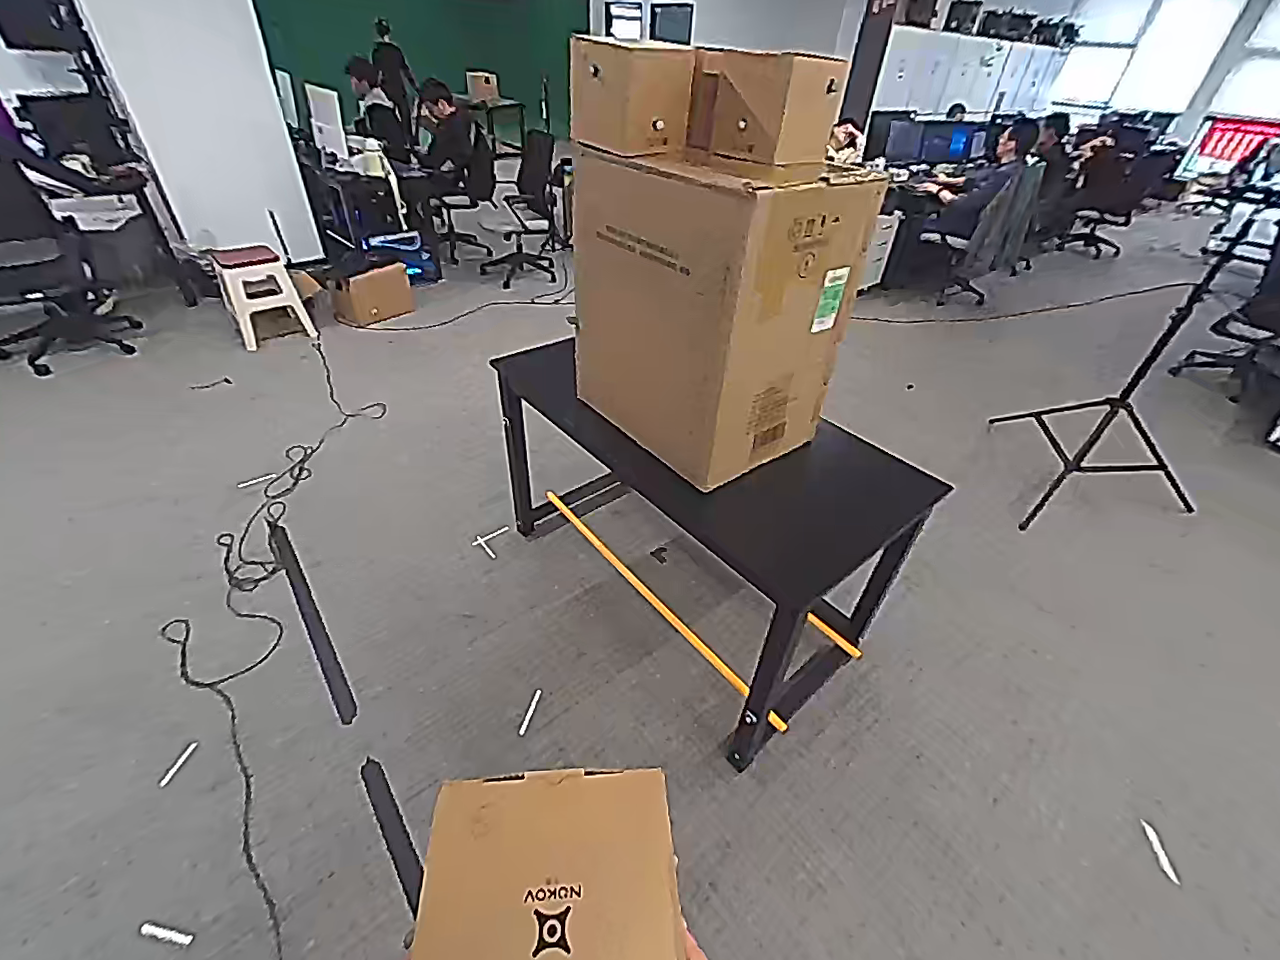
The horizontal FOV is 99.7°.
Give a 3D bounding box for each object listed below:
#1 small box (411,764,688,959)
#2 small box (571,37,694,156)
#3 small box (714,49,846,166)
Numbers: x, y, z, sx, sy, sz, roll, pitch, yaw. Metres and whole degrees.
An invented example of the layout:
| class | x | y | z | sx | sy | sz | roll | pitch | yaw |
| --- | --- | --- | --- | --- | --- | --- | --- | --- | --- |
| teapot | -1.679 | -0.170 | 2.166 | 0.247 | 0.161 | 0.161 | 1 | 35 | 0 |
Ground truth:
| class | x | y | z | sx | sy | sz | roll | pitch | yaw |
| --- | --- | --- | --- | --- | --- | --- | --- | --- | --- |
| small box | -0.063 | 0.331 | 0.387 | 0.168 | 0.176 | 0.179 | 0 | 43 | -8 |
| small box | -0.022 | -0.748 | 1.058 | 0.168 | 0.176 | 0.179 | -29 | 52 | -32 |
| small box | 0.262 | -0.719 | 1.049 | 0.179 | 0.176 | 0.168 | -26 | 46 | -34 |
